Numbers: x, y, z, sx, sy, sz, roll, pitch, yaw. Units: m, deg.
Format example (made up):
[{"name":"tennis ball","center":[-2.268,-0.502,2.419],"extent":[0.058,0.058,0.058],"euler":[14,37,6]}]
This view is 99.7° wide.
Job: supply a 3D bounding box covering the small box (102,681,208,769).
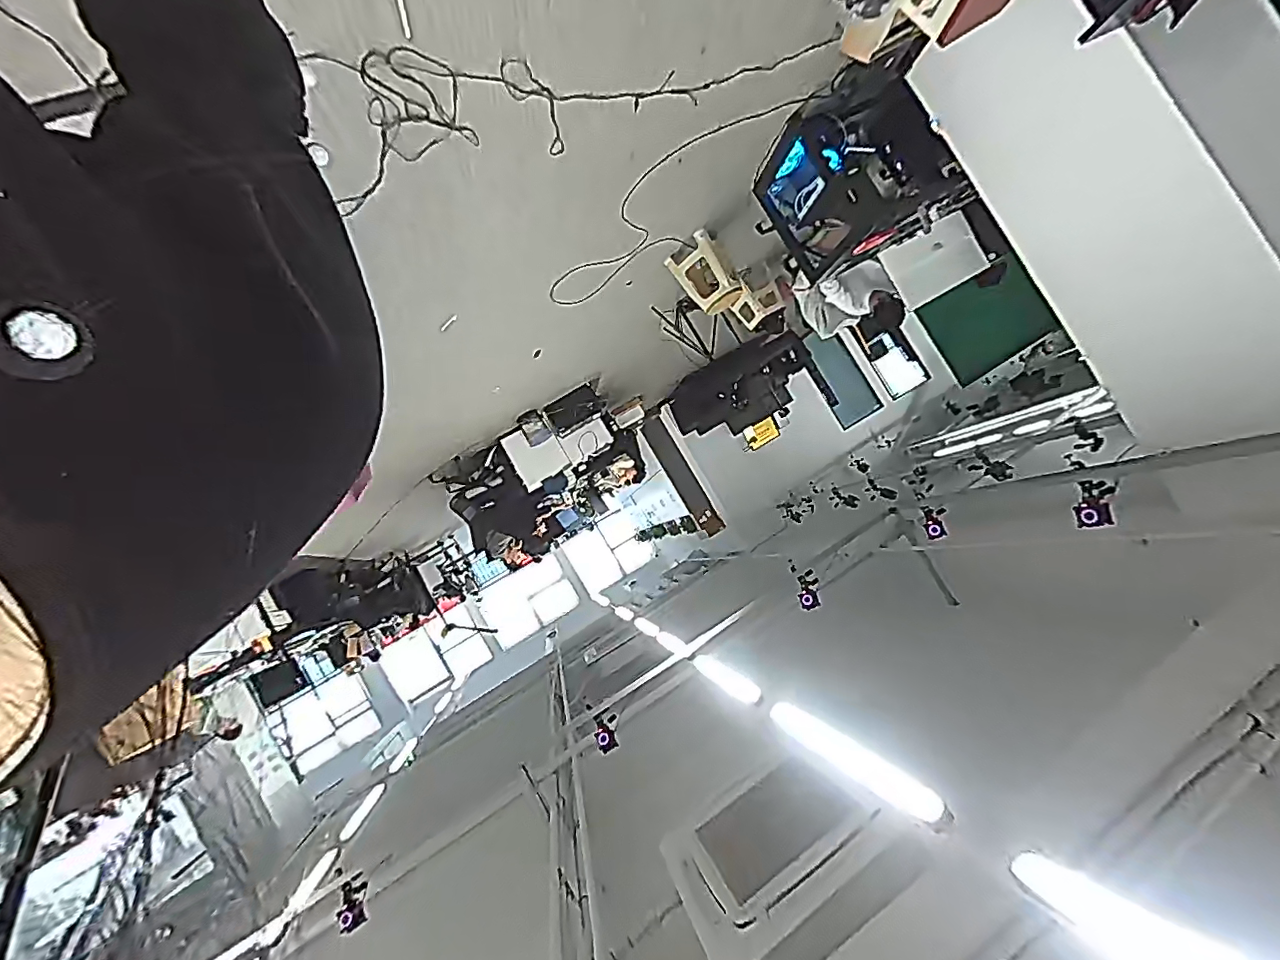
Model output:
[{"name":"small box","center":[-1.537,0.766,1.711],"extent":[0.179,0.176,0.168],"euler":[-31,177,-15]}]
